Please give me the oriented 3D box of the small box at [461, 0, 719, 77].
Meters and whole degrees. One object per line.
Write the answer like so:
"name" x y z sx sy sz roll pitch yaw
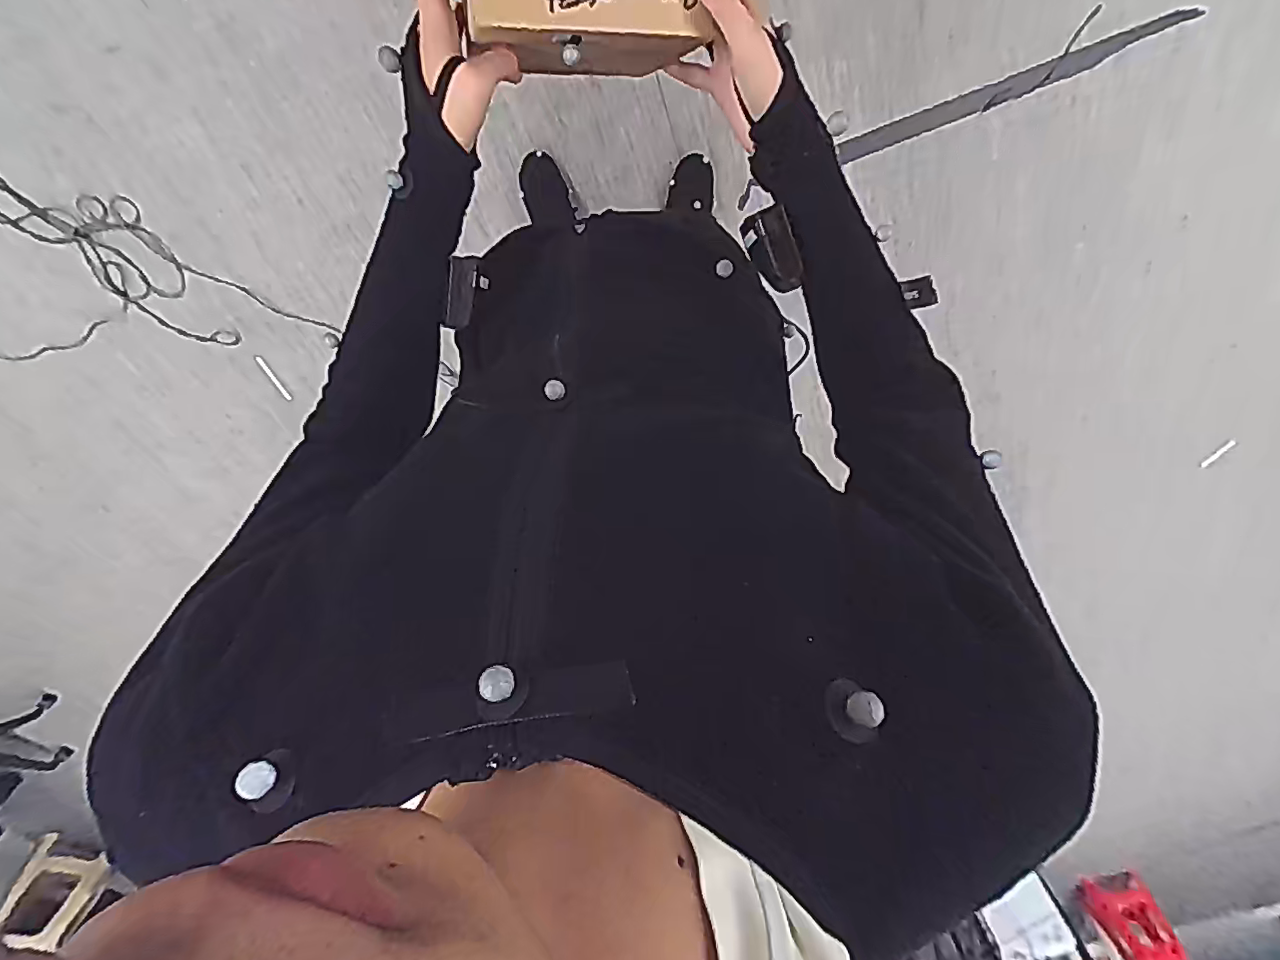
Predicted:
"small box" -0.048 -0.410 0.380 0.168 0.176 0.179 -8 120 -14
